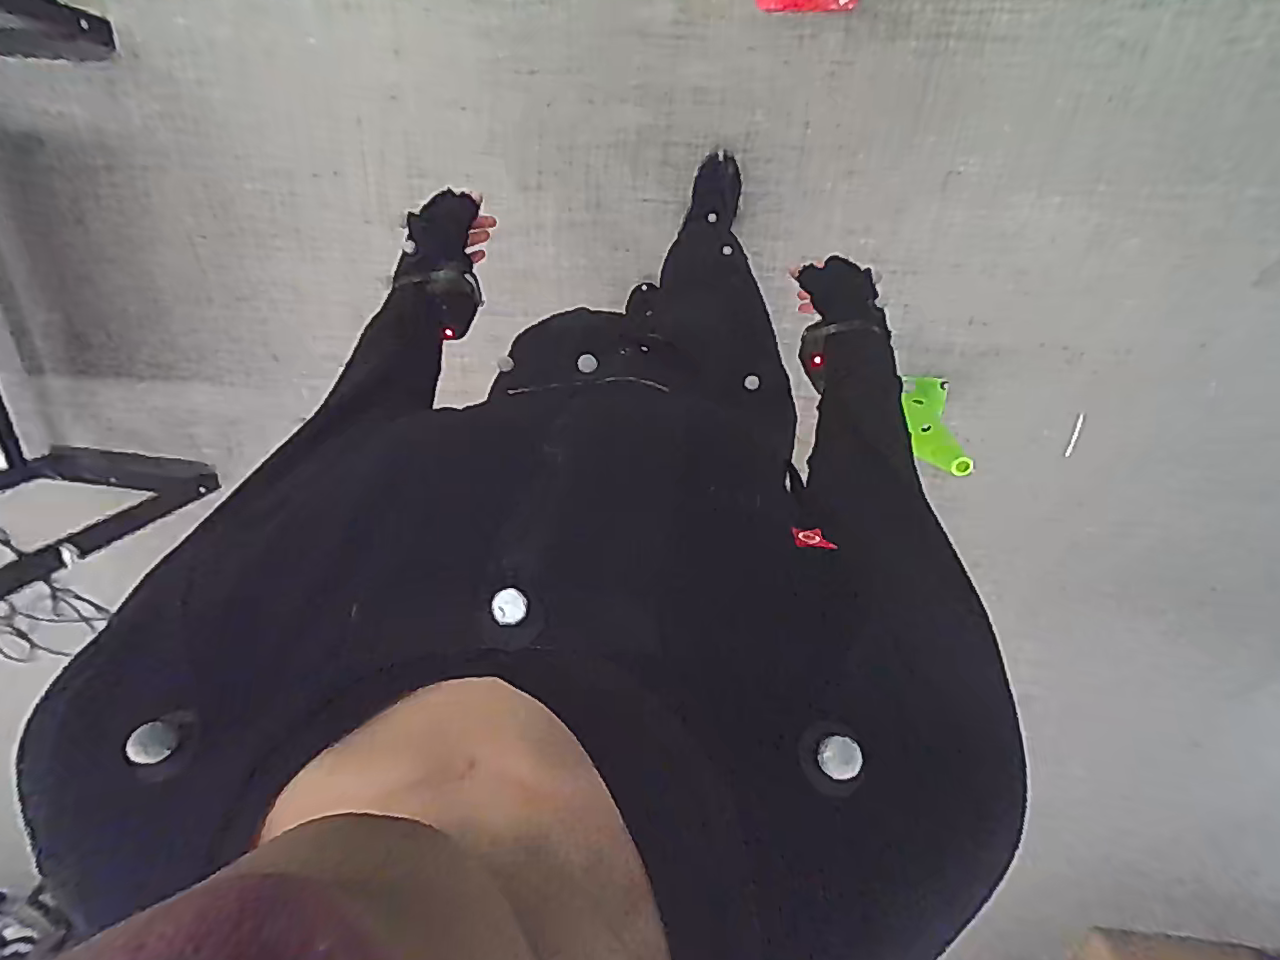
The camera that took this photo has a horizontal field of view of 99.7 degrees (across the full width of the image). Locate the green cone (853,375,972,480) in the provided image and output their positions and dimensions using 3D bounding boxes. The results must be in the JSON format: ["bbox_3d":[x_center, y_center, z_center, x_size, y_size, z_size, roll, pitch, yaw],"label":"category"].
[{"bbox_3d":[0.636,-0.094,1.207,0.200,0.368,0.202,3,114,5],"label":"green cone"}]
